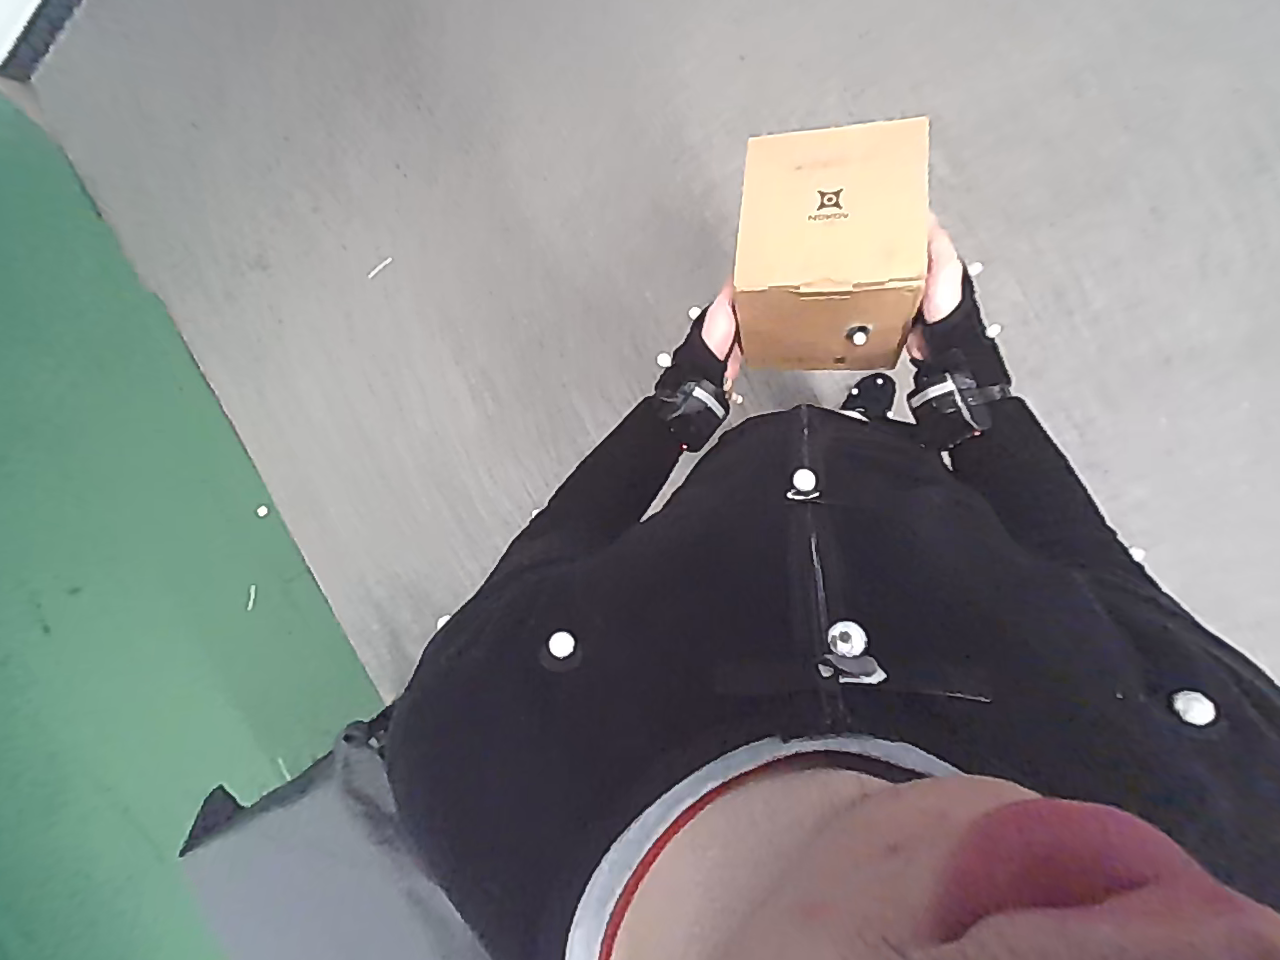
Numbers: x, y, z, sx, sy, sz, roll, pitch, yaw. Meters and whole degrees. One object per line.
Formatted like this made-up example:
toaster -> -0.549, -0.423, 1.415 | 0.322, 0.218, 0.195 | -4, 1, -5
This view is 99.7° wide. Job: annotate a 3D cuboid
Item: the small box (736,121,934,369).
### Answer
small box -> 0.199, -0.231, 0.572 | 0.168, 0.176, 0.179 | 5, 74, 15
